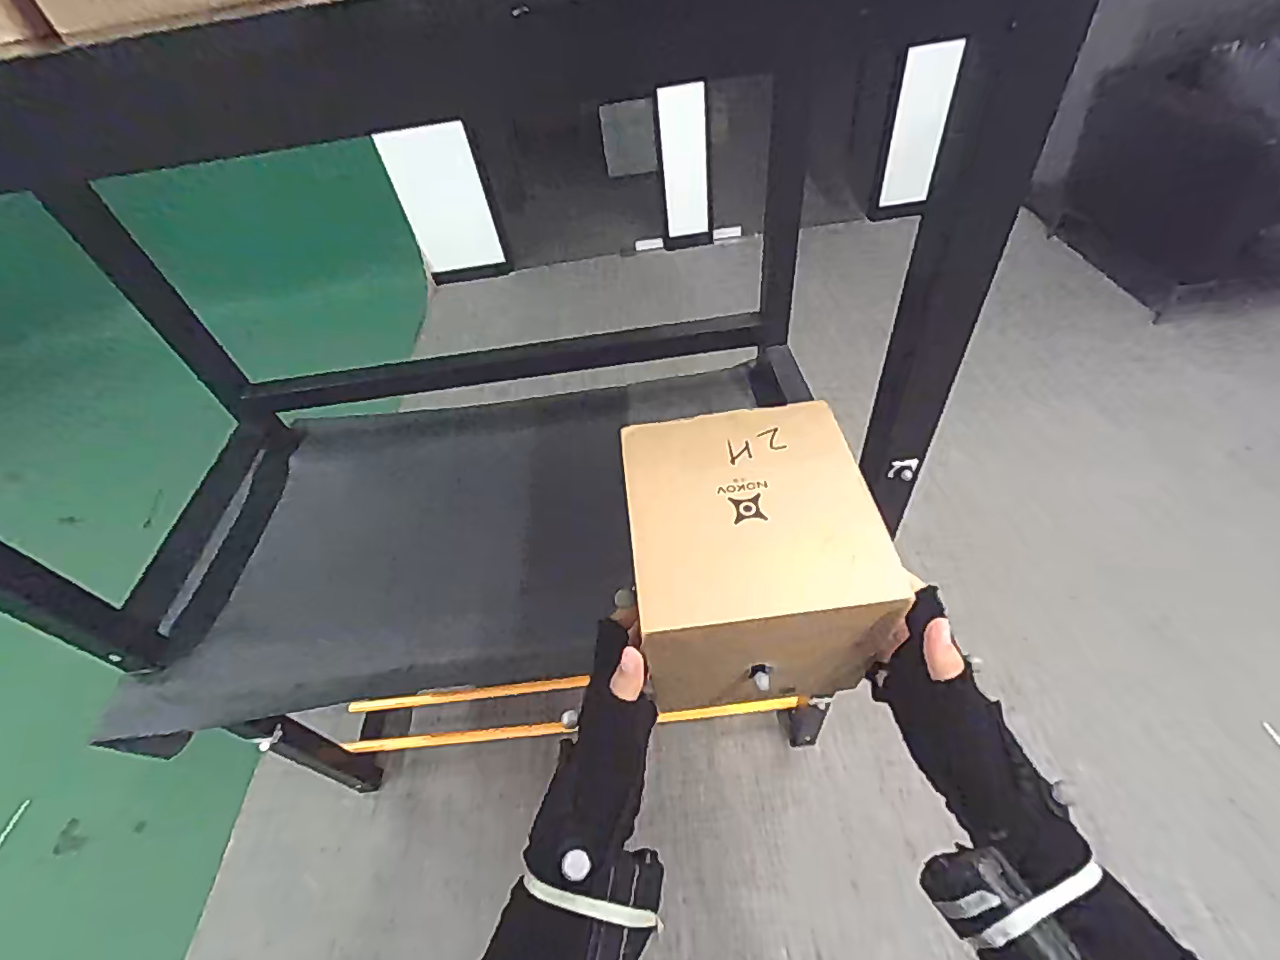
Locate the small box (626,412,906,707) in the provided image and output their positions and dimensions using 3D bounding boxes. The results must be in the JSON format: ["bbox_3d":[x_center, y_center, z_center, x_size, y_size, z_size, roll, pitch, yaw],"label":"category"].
[{"bbox_3d":[0.083,0.072,0.441,0.168,0.176,0.179,-7,50,0],"label":"small box"}]
